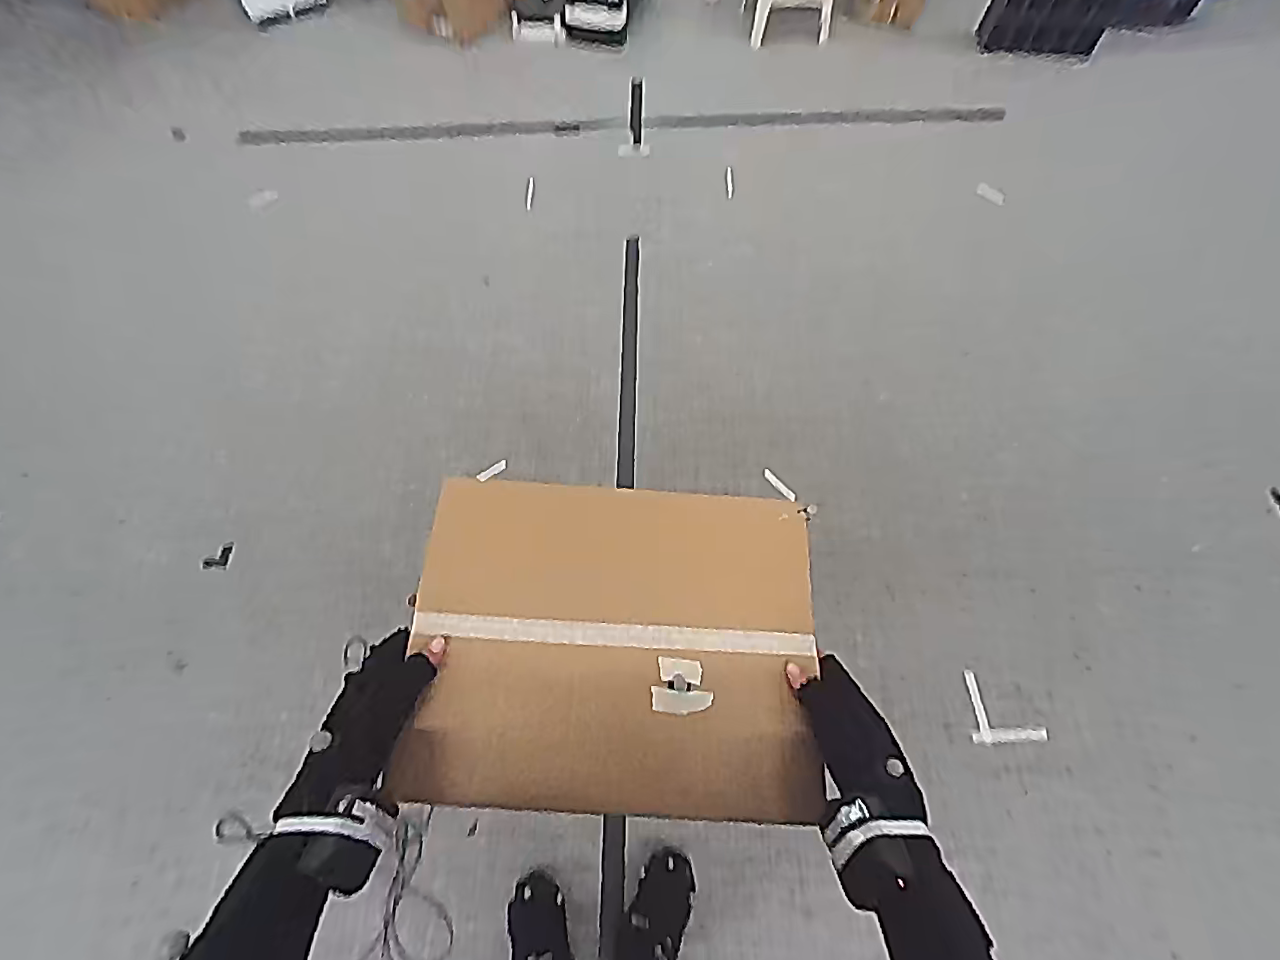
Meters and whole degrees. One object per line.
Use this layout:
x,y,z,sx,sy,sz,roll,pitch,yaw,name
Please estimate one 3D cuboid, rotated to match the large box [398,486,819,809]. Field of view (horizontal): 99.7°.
-0.030,0.216,0.698,0.408,0.320,0.320,4,68,-1,large box
